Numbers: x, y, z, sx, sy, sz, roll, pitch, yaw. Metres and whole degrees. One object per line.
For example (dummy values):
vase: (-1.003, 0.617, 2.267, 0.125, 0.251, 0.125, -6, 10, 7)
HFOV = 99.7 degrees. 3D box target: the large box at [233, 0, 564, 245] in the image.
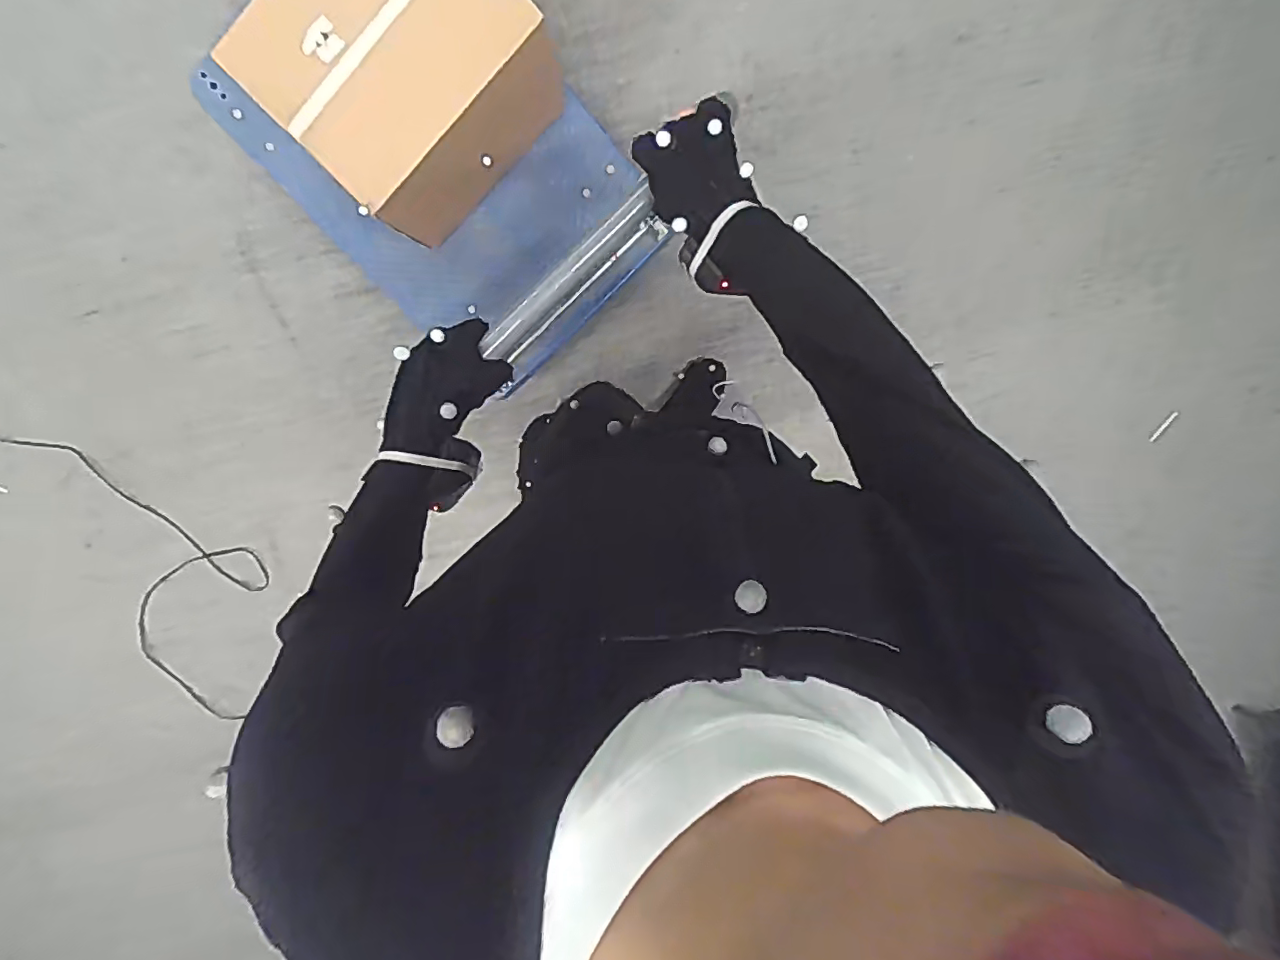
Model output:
large box: (-0.393, -0.713, 0.980, 0.408, 0.320, 0.320, -44, 100, 8)
